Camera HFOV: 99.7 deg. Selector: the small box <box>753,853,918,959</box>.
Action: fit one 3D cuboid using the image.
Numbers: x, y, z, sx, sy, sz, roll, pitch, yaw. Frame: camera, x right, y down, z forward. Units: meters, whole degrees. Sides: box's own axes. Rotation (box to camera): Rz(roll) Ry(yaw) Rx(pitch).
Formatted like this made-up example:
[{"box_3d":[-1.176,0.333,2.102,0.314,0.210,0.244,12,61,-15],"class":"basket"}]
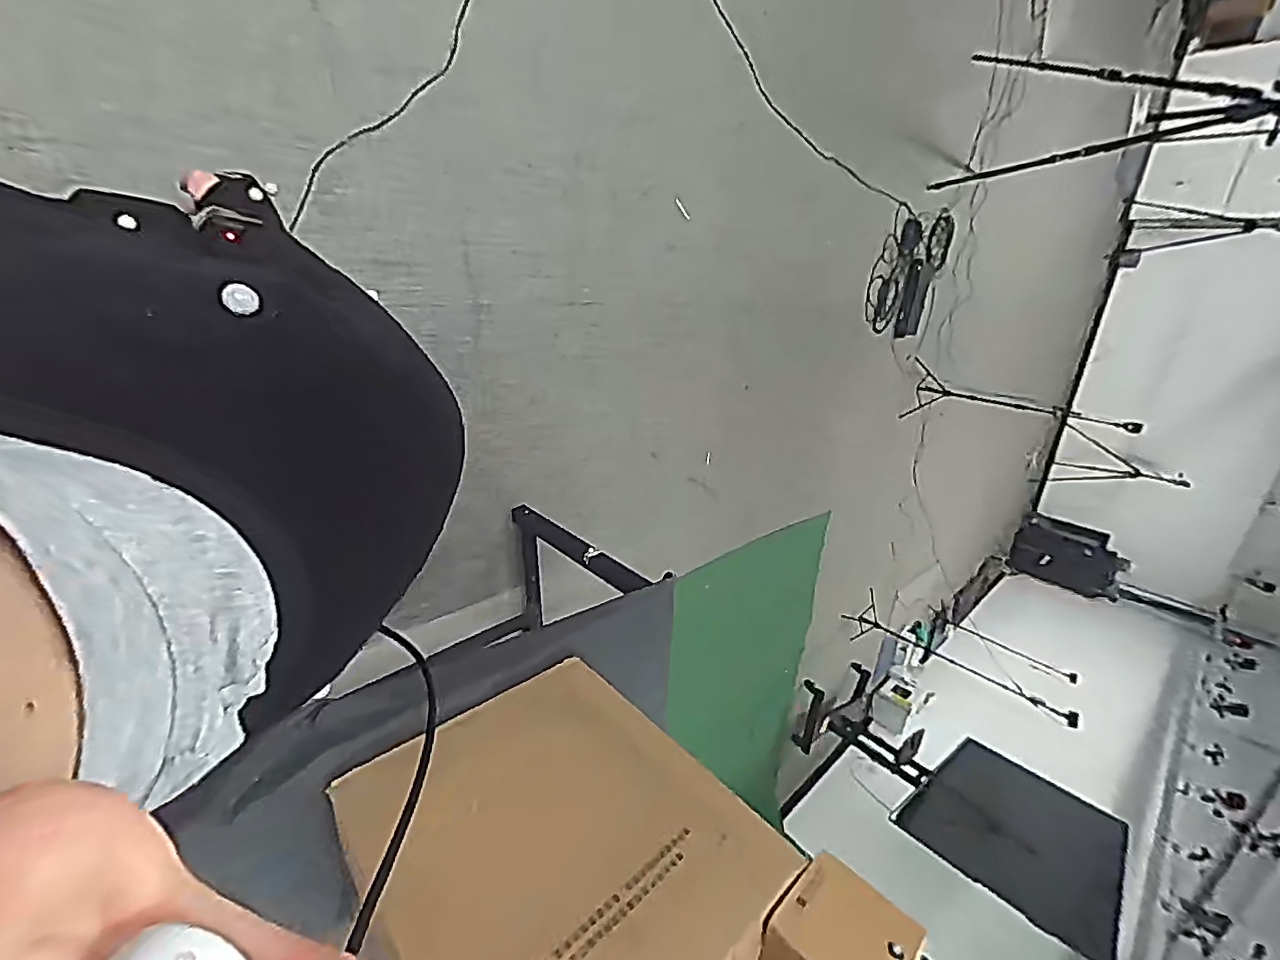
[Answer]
[{"box_3d":[0.278,0.714,0.802,0.168,0.176,0.179,-16,119,-44],"class":"small box"}]
